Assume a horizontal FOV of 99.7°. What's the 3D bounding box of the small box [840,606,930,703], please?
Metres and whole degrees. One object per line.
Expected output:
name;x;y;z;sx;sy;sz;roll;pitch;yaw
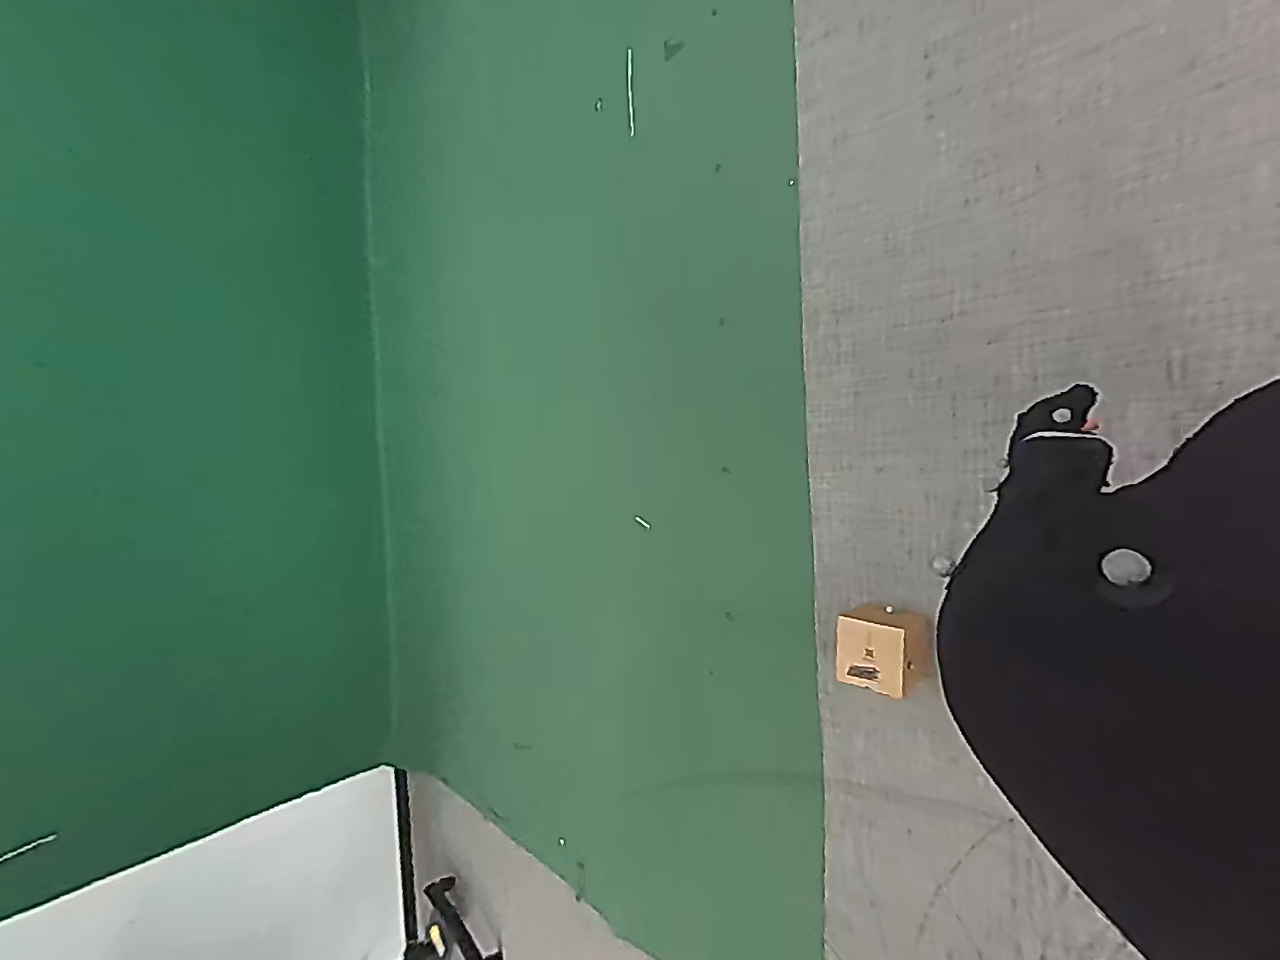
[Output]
small box;0.633;0.439;1.391;0.168;0.176;0.179;3;93;44
